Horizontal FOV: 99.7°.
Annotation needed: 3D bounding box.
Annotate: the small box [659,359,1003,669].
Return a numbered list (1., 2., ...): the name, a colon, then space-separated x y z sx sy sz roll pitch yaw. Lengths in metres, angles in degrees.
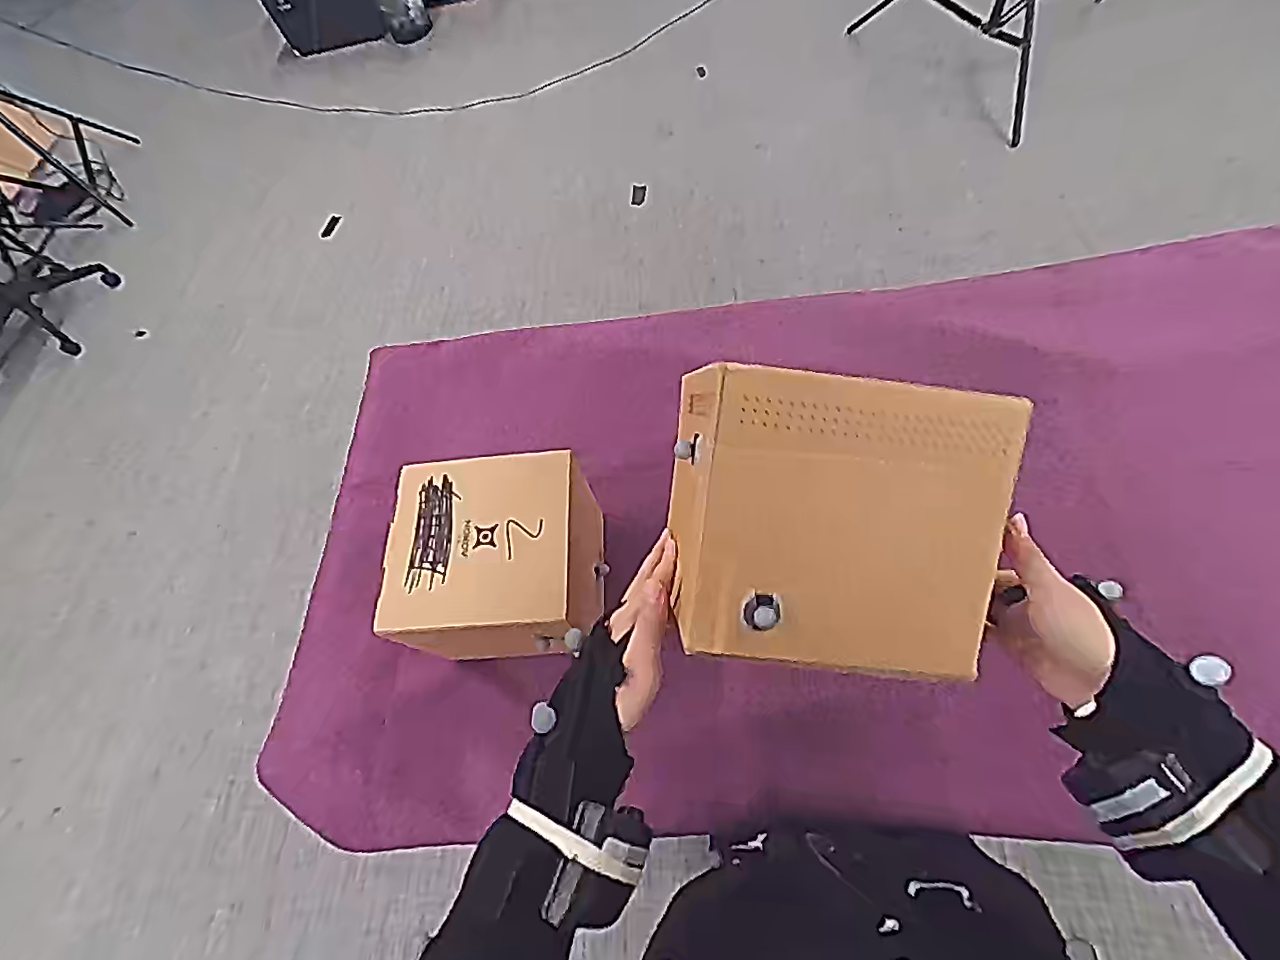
1. small box: 0.113 0.012 0.380 0.179 0.168 0.176 6 95 -3
